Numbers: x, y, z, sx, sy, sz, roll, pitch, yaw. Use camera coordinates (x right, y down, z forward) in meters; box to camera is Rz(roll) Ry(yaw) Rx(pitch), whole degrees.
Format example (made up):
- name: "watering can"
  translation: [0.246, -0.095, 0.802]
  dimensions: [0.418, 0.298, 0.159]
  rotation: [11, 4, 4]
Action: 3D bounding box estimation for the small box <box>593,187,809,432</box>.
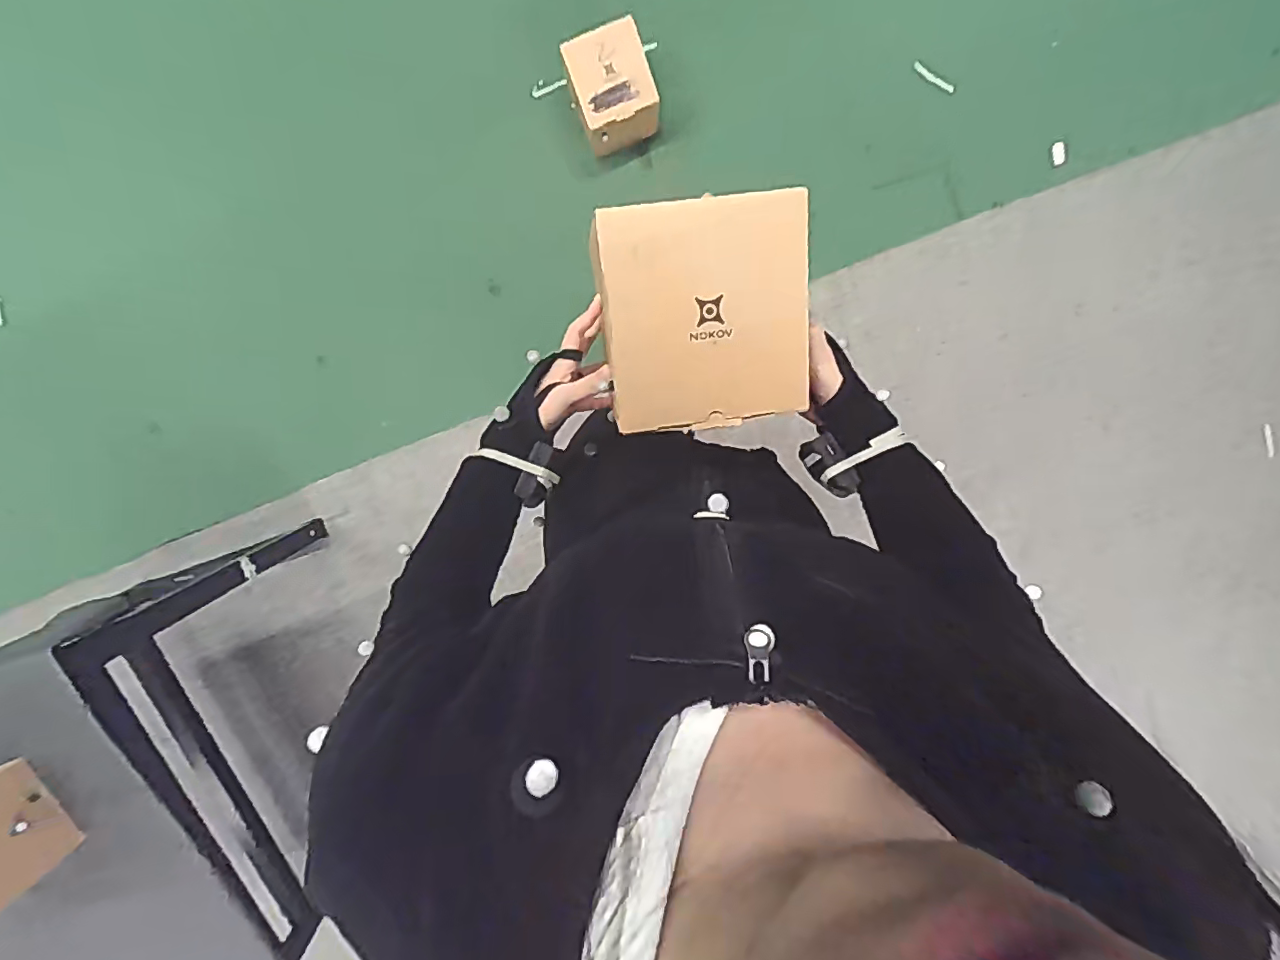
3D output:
- name: "small box"
  translation: [0.047, -0.156, 0.516]
  dimensions: [0.168, 0.176, 0.179]
  rotation: [-9, 107, -2]
